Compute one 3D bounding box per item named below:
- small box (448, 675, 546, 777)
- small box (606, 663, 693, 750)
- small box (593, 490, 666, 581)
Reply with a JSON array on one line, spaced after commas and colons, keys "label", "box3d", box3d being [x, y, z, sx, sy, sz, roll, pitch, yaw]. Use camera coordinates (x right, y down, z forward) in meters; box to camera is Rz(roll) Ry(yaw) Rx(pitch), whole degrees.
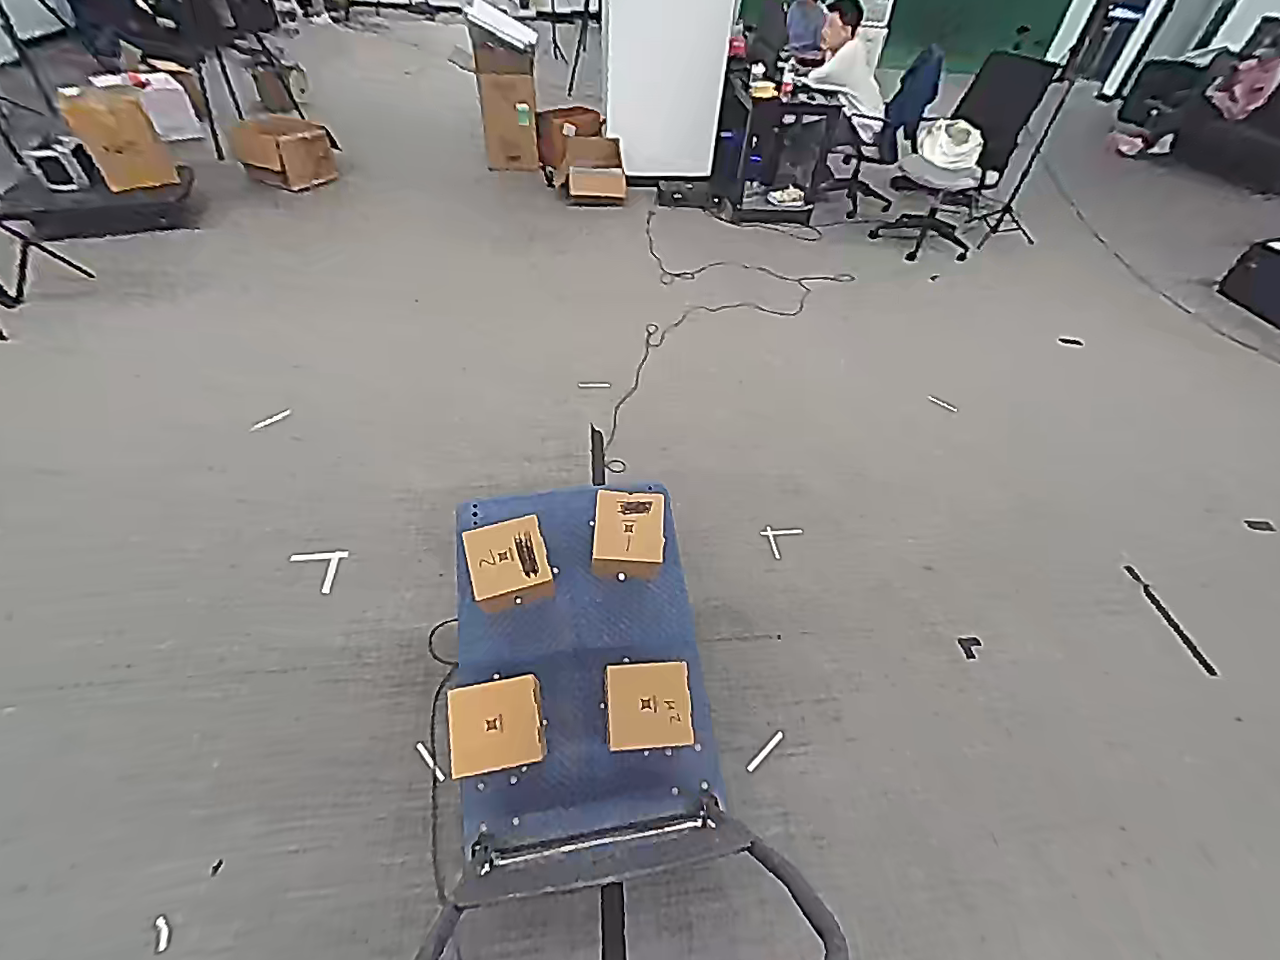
[{"label": "small box", "box3d": [-0.301, 0.524, 1.154, 0.179, 0.176, 0.168, -7, 66, -11]}, {"label": "small box", "box3d": [0.013, 0.503, 1.199, 0.179, 0.176, 0.168, -1, 66, -7]}, {"label": "small box", "box3d": [-0.030, 0.143, 1.361, 0.168, 0.176, 0.179, 5, 66, -4]}]
